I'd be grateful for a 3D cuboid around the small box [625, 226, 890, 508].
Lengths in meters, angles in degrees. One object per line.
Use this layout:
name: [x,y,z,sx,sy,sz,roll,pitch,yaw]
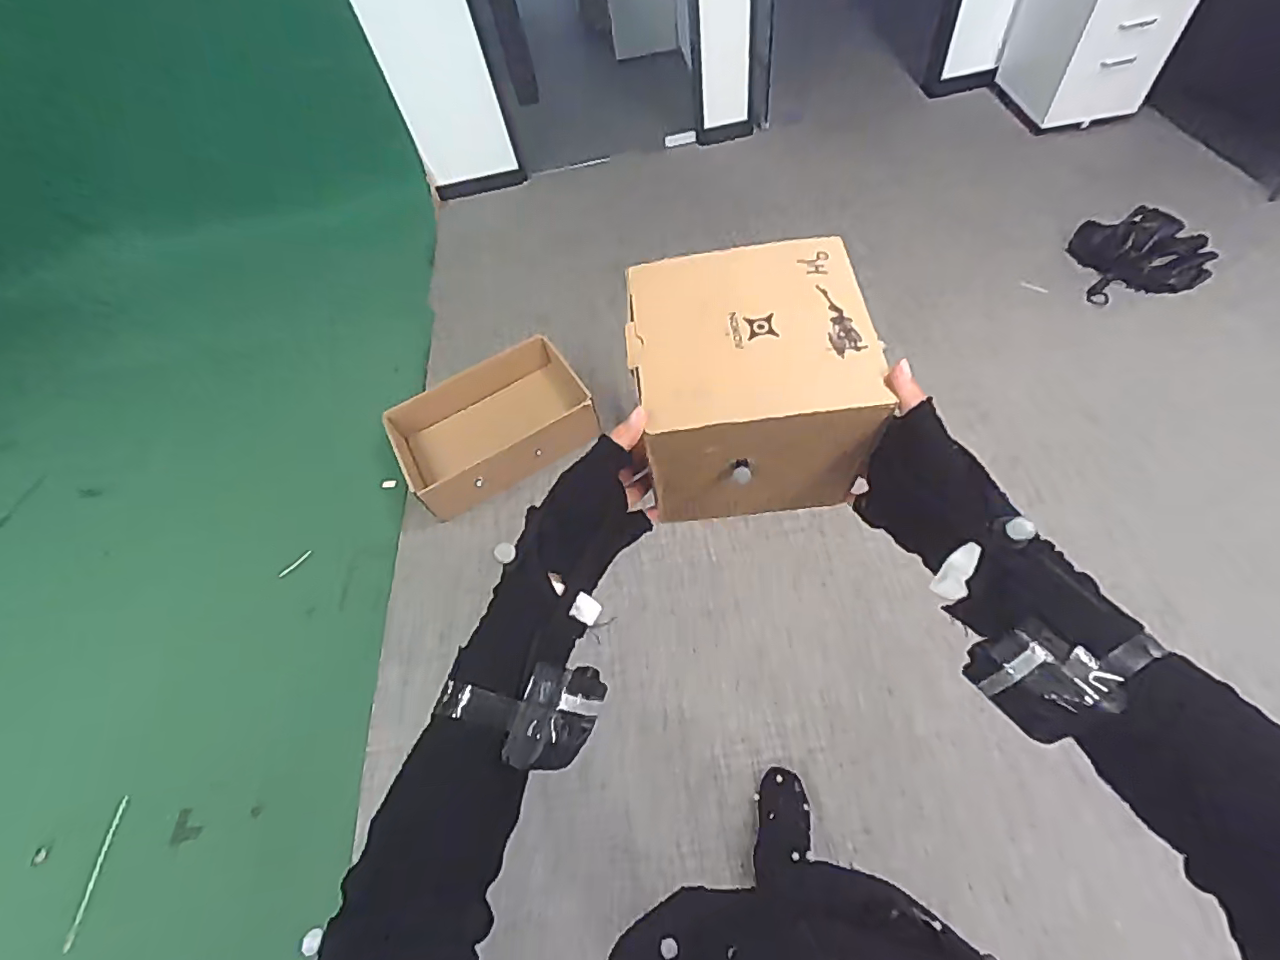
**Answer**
small box: [0.089,-0.085,0.473,0.179,0.176,0.168,-7,64,4]
